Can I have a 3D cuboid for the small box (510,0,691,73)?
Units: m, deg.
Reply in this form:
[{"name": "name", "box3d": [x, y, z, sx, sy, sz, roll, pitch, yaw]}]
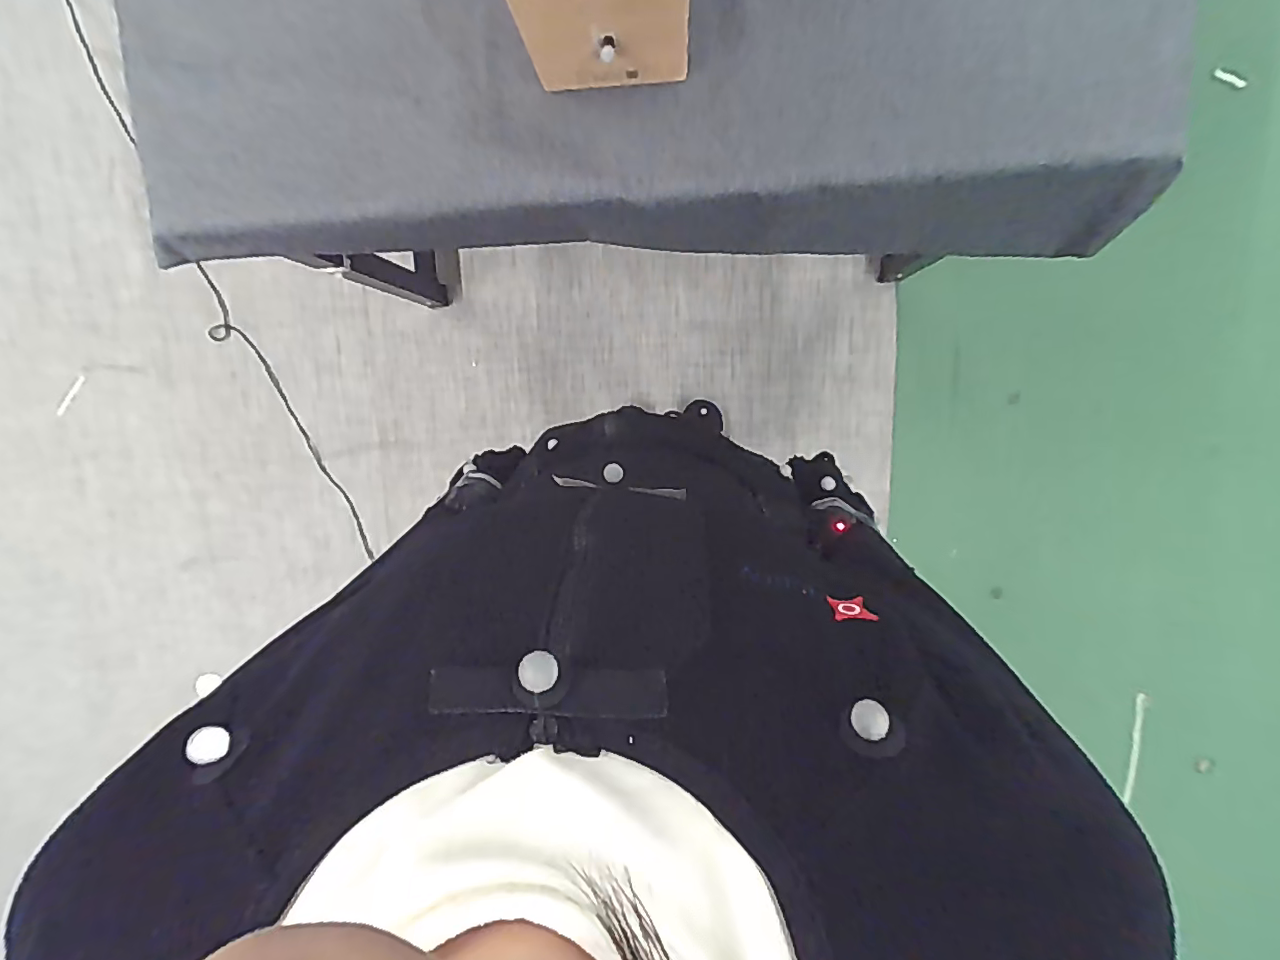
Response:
[{"name": "small box", "box3d": [-0.035, -0.532, 0.525, 0.168, 0.176, 0.179, -2, 100, 5]}]
